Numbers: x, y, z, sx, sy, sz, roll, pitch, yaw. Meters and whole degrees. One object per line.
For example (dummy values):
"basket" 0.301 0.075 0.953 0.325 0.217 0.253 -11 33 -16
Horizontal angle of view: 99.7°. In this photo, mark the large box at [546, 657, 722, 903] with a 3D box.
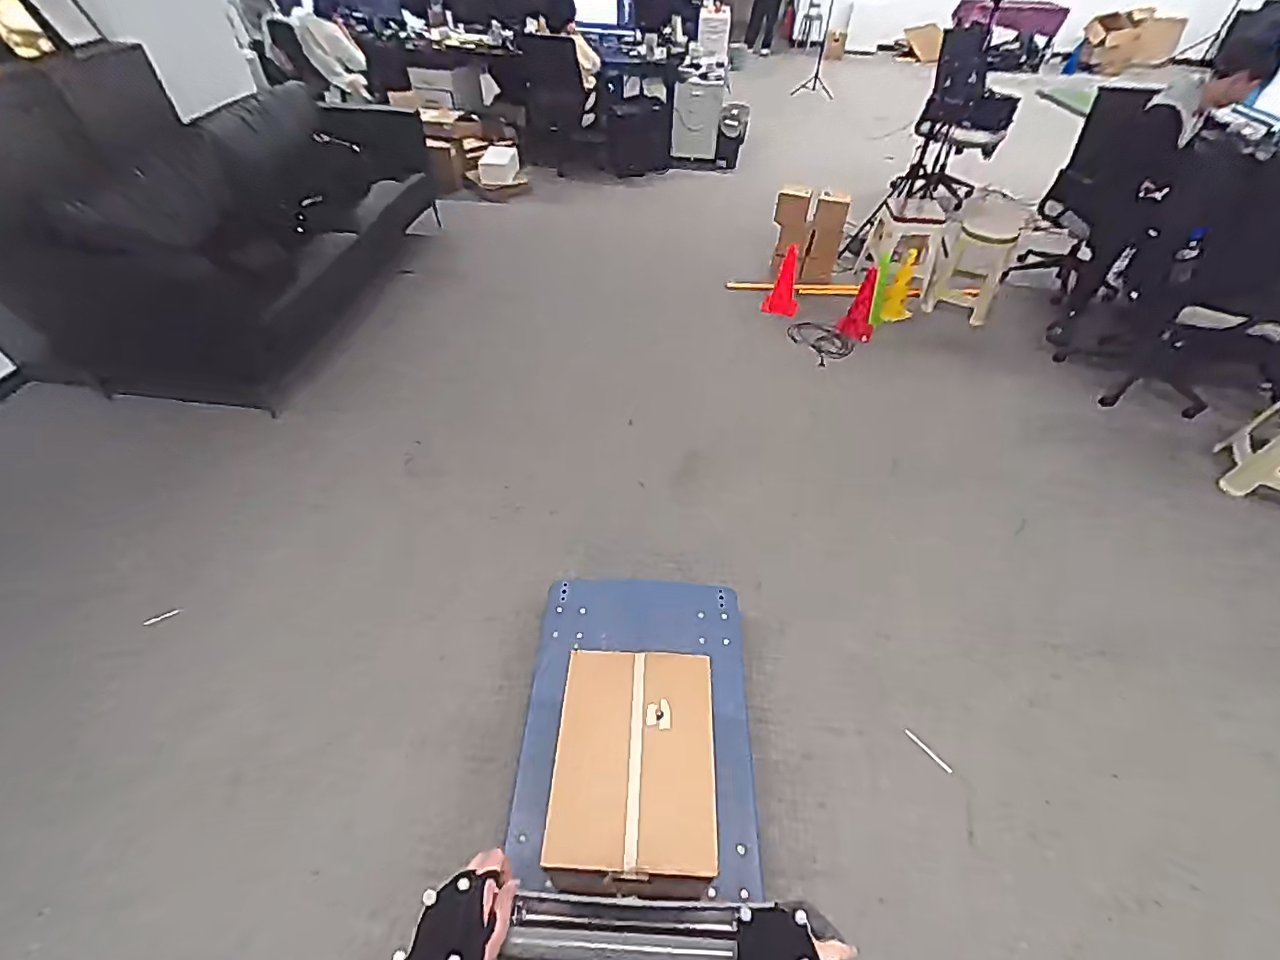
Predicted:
"large box" -0.005 0.645 1.171 0.320 0.320 0.408 2 45 1
